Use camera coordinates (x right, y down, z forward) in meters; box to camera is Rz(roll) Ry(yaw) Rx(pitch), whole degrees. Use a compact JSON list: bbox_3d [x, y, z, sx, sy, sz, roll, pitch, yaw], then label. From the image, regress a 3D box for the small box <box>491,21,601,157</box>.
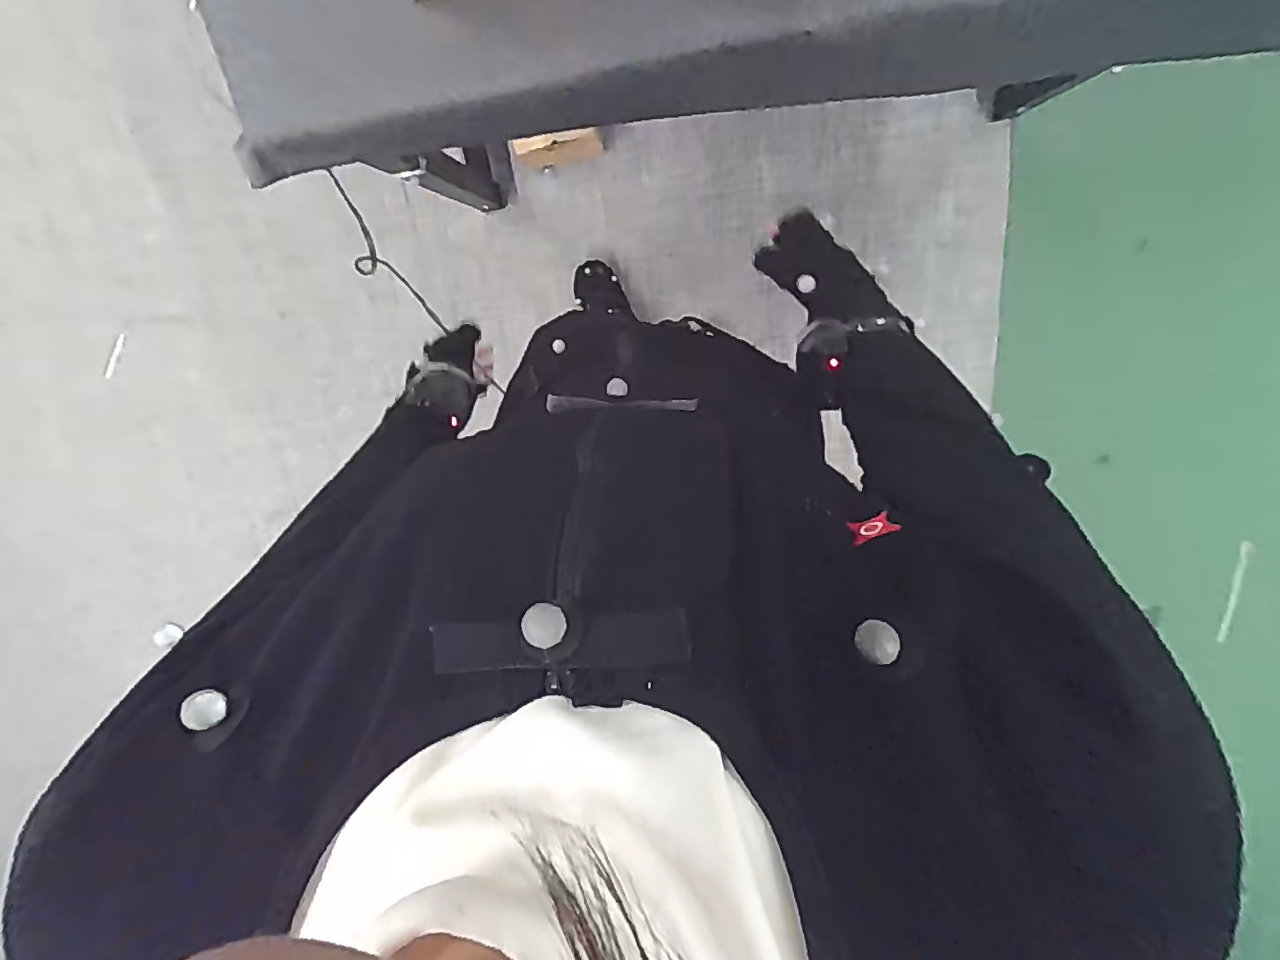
[{"bbox_3d":[-0.183,-0.786,1.111,0.168,0.176,0.179,-10,109,6],"label":"small box"}]
